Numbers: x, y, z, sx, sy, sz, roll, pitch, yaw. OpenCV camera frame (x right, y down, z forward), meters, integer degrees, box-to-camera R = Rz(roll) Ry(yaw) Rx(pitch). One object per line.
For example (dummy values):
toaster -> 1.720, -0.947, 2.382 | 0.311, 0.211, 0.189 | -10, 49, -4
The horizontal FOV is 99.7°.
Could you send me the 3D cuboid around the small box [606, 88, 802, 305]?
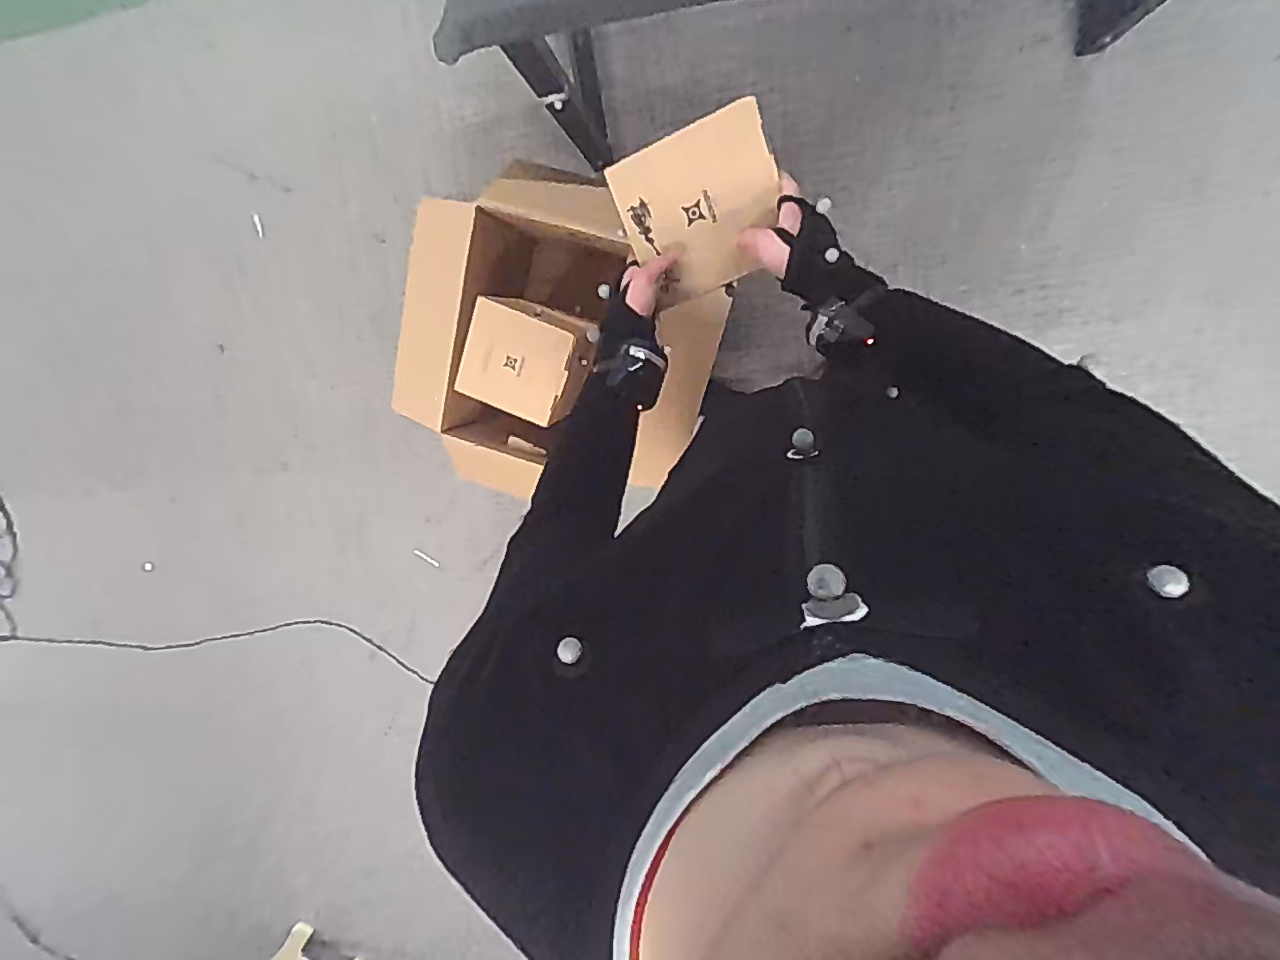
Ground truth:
small box -> 0.079, -0.329, 0.663 | 0.179, 0.176, 0.168 | -18, 106, 15
